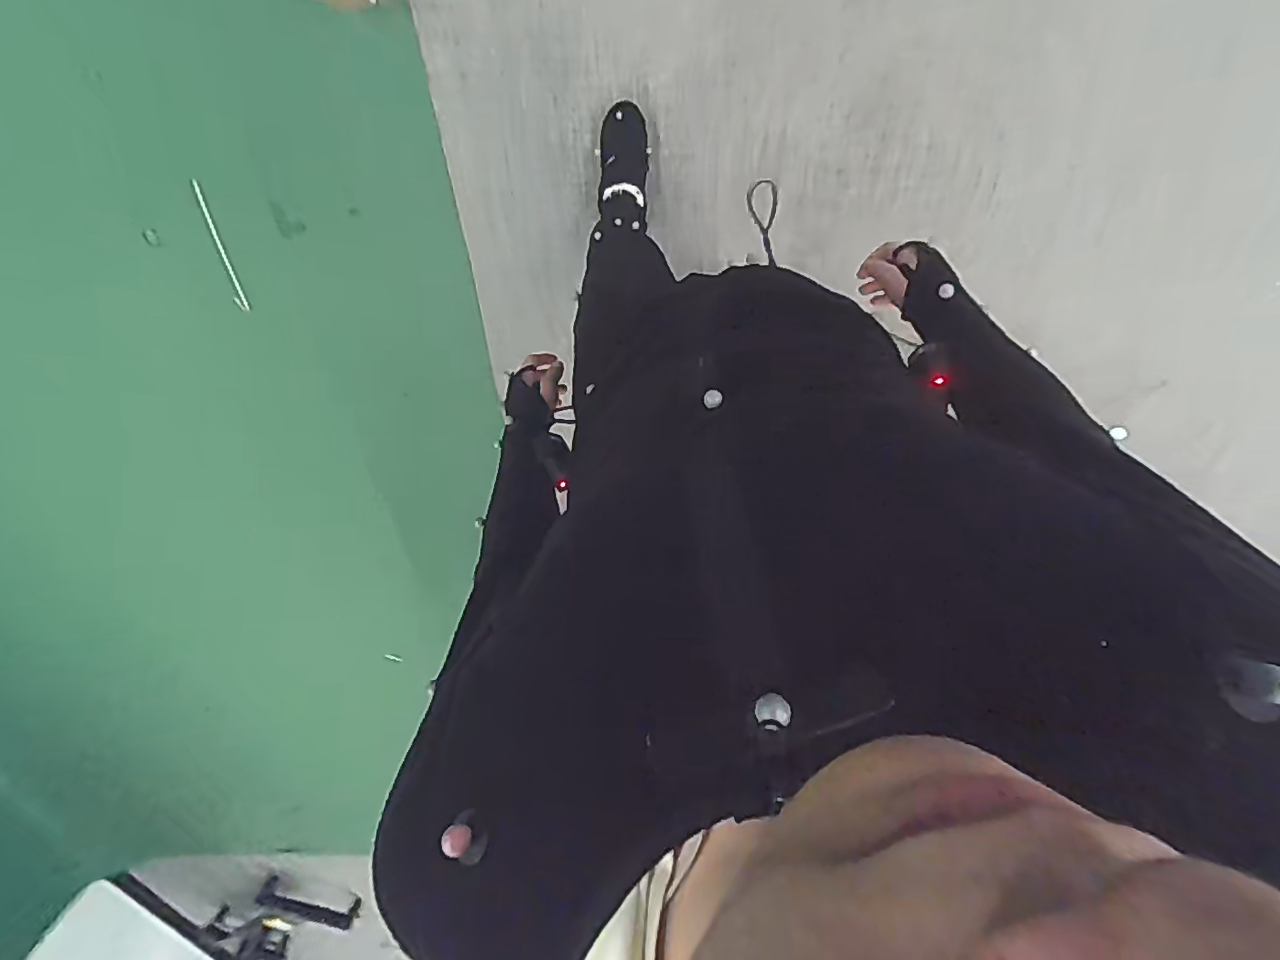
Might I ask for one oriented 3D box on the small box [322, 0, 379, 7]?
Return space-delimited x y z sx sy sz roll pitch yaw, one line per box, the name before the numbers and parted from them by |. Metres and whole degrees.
small box | -0.565 -1.056 1.049 0.168 0.176 0.179 -12 121 9
